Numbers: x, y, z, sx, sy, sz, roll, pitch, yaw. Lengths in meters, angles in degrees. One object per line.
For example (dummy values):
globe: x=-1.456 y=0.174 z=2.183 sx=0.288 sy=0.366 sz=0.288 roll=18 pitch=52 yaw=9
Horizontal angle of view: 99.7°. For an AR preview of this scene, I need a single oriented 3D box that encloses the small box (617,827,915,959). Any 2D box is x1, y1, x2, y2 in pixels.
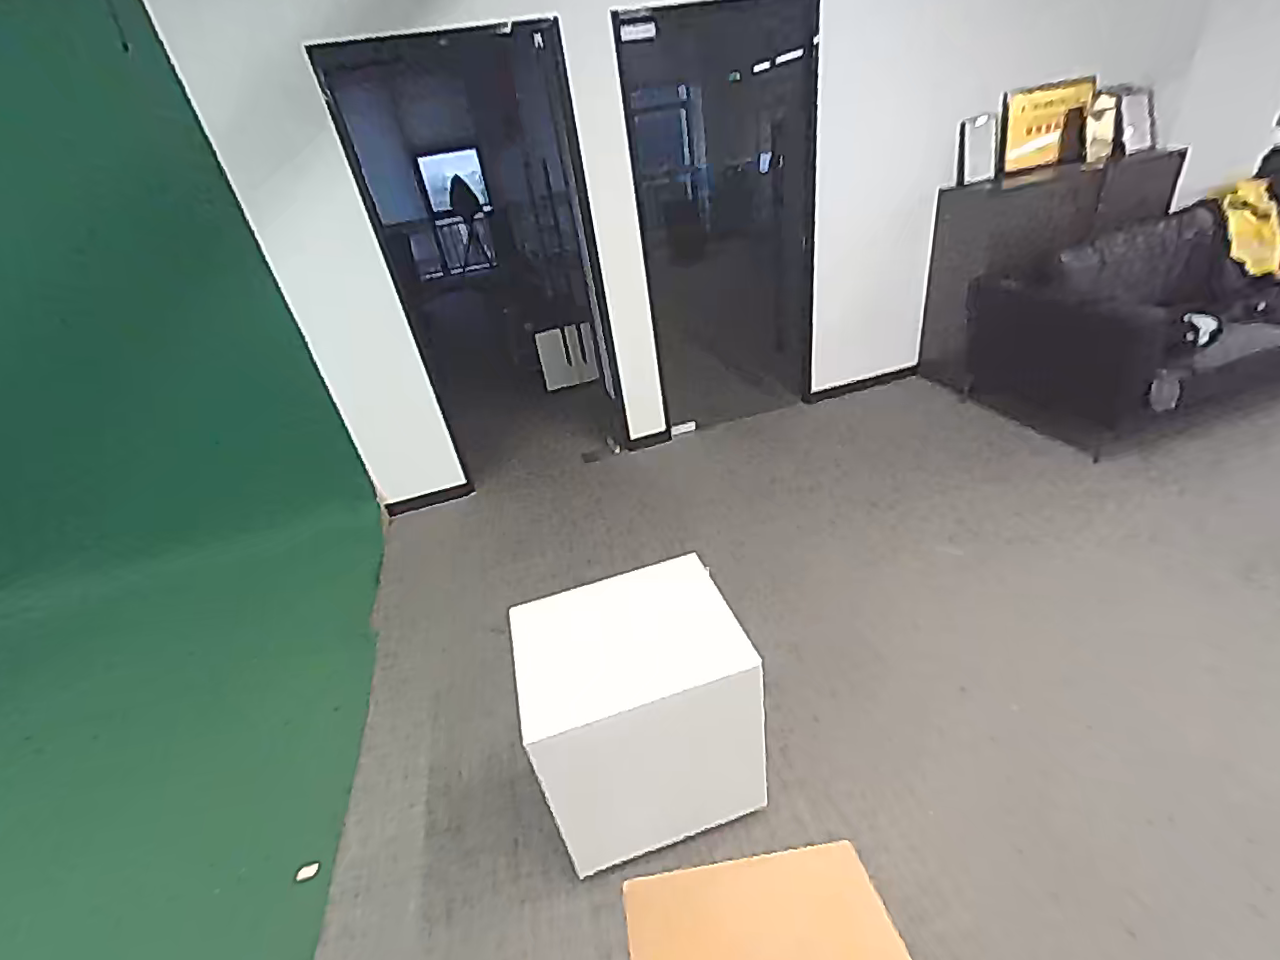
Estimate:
small box: x=0.078 y=0.353 z=0.315 sx=0.168 sy=0.176 sz=0.179 roll=-6 pitch=18 yaw=-6
